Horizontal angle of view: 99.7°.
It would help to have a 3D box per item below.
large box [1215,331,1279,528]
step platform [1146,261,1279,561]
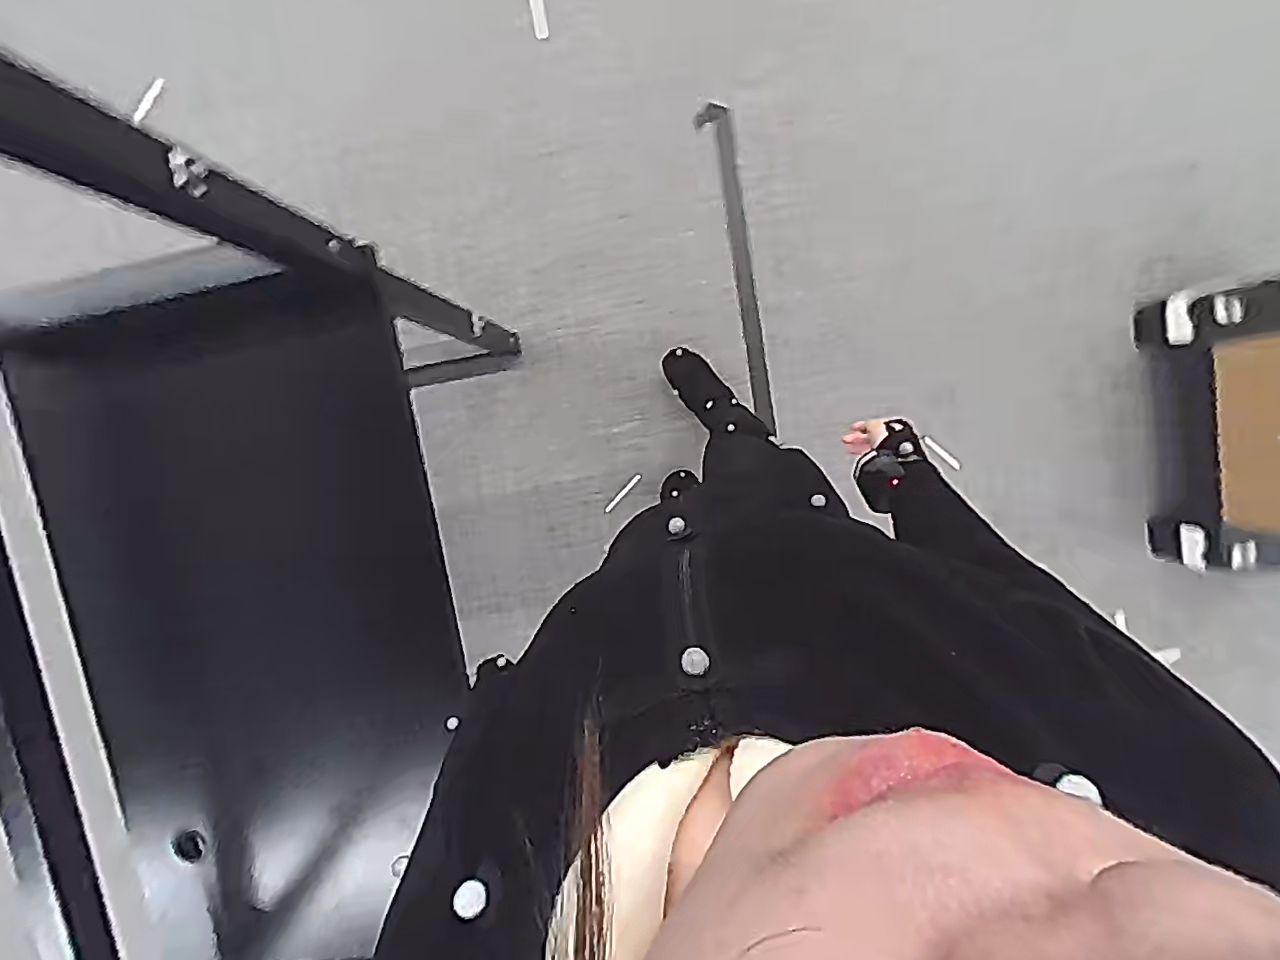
[{"bbox_3d":[1.433,-0.116,1.041,0.320,0.320,0.408,-10,94,4],"label":"large box"},{"bbox_3d":[1.430,-0.154,1.277,0.286,0.204,0.684,-4,95,4],"label":"step platform"}]
